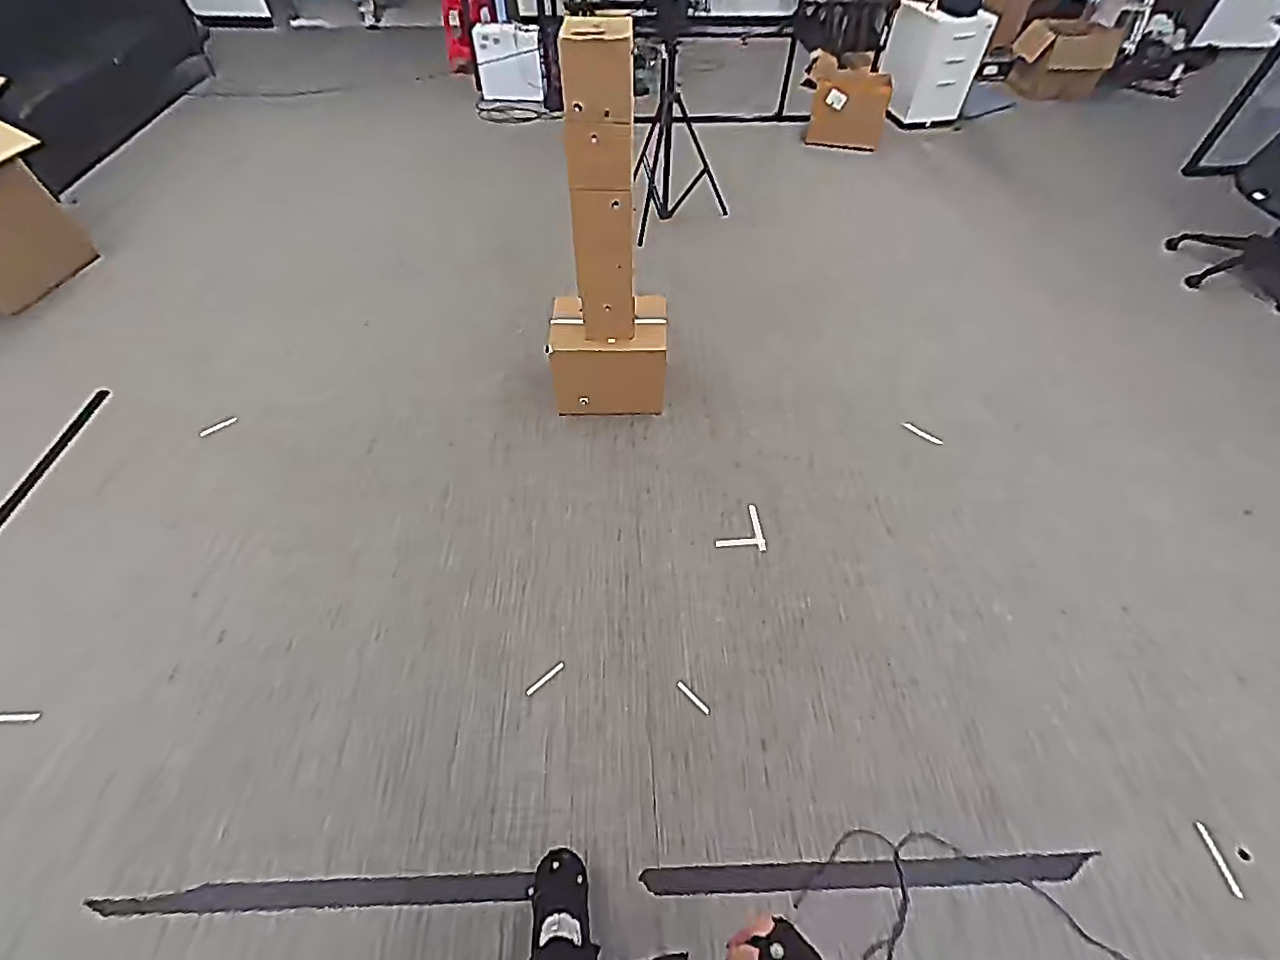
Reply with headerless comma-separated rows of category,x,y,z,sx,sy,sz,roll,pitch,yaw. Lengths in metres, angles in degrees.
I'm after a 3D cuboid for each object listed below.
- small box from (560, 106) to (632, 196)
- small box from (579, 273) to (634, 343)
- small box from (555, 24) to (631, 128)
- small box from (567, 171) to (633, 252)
small box,-0.111,-0.883,1.451,0.179,0.176,0.168,1,53,0
small box,-0.112,-0.581,1.838,0.179,0.176,0.168,-2,53,-3
small box,-0.107,-0.984,1.321,0.168,0.176,0.179,1,52,0
small box,-0.112,-0.784,1.579,0.179,0.176,0.168,1,52,0
